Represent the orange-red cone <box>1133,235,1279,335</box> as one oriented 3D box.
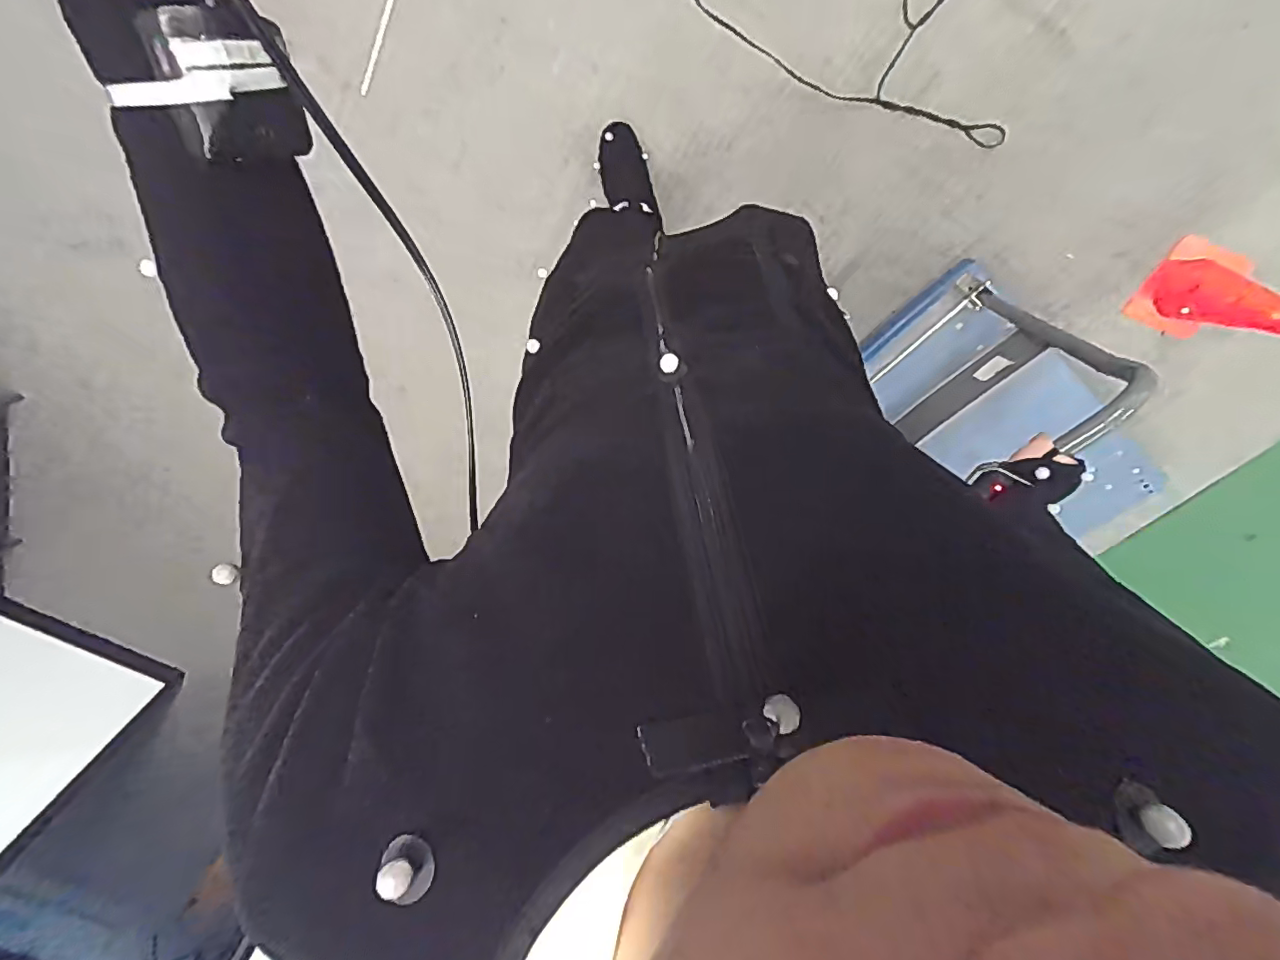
[{"bbox_3d":[1.338,-0.384,1.178,0.198,0.360,0.199,19,121,-6],"label":"orange-red cone"}]
